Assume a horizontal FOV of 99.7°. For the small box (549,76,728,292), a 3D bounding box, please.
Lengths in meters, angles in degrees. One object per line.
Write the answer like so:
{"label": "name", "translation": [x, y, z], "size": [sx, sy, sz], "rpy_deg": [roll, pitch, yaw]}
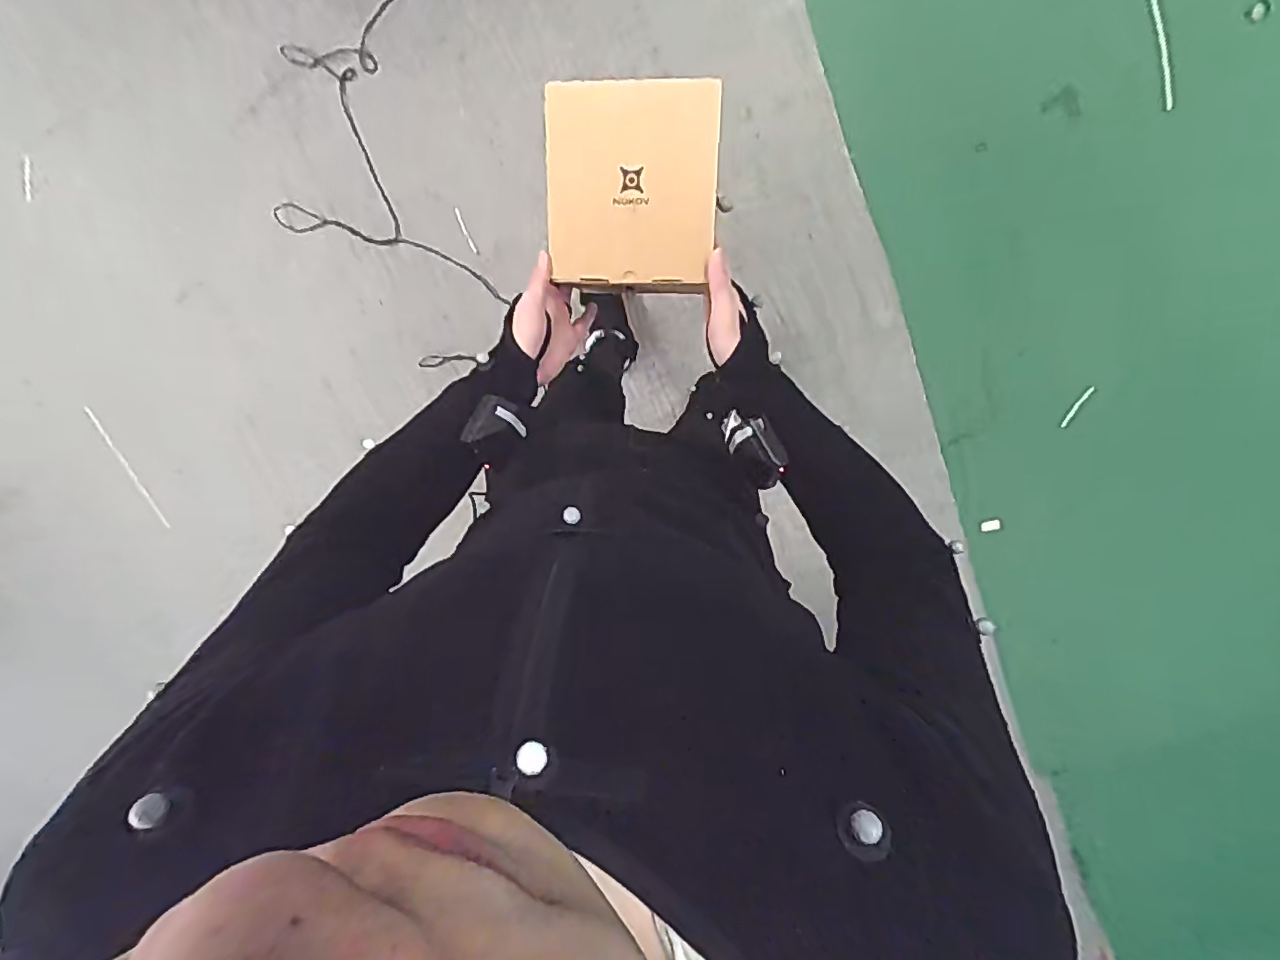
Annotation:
{"label": "small box", "translation": [0.000, -0.302, 0.586], "size": [0.168, 0.176, 0.179], "rpy_deg": [2, 107, 4]}
